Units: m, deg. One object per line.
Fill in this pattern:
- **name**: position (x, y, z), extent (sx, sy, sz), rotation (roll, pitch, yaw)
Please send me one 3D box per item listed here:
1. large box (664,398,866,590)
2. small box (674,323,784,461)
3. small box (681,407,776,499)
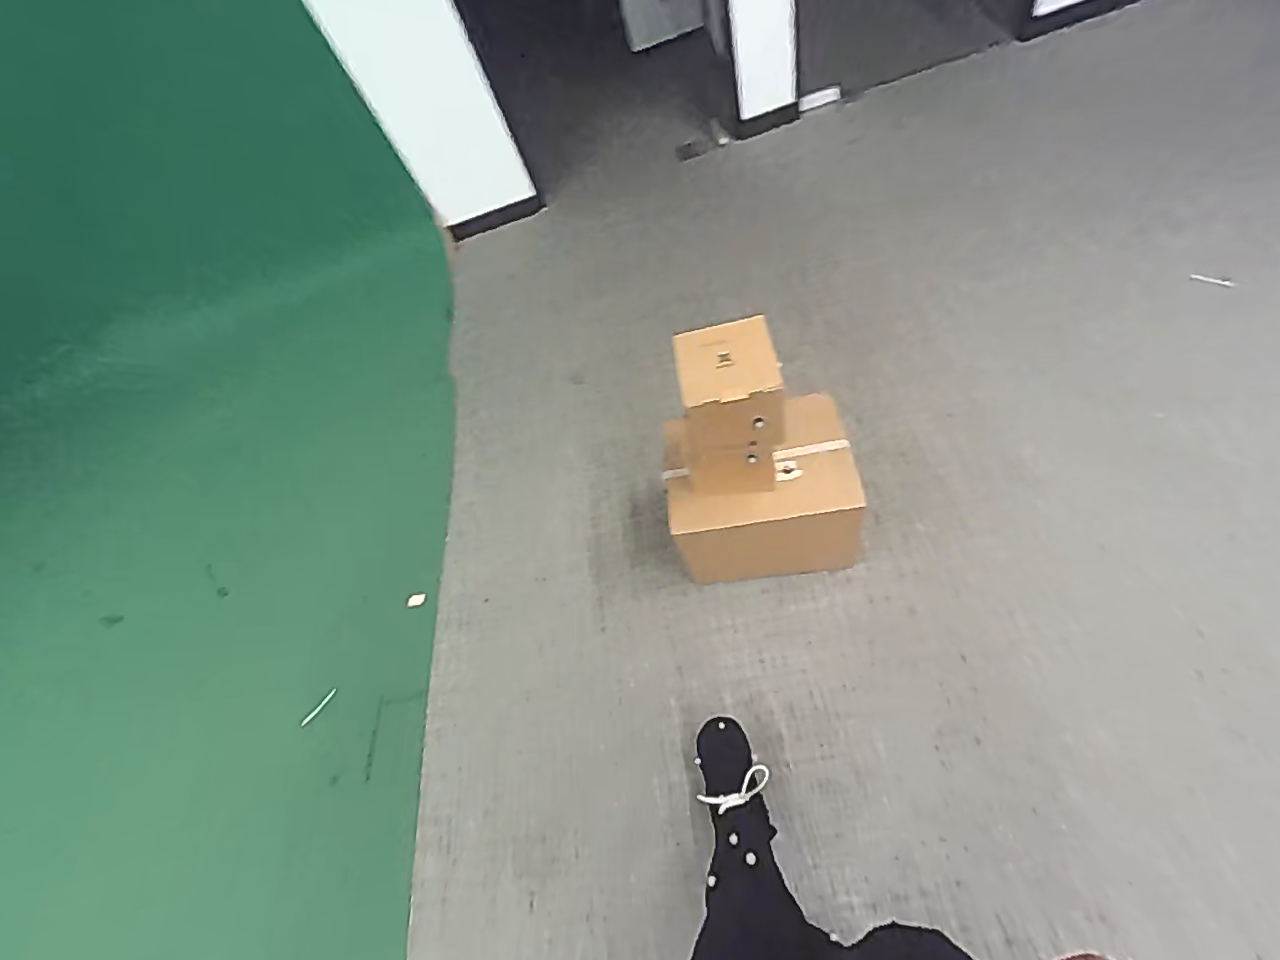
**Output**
- **large box**: position (0.291, 0.049, 1.323), extent (0.408, 0.320, 0.320), rotation (-9, 57, 10)
- **small box**: position (0.165, -0.151, 0.995), extent (0.168, 0.176, 0.179), rotation (-11, 54, 8)
- **small box**: position (0.188, -0.072, 1.135), extent (0.179, 0.176, 0.168), rotation (-5, 57, 14)
